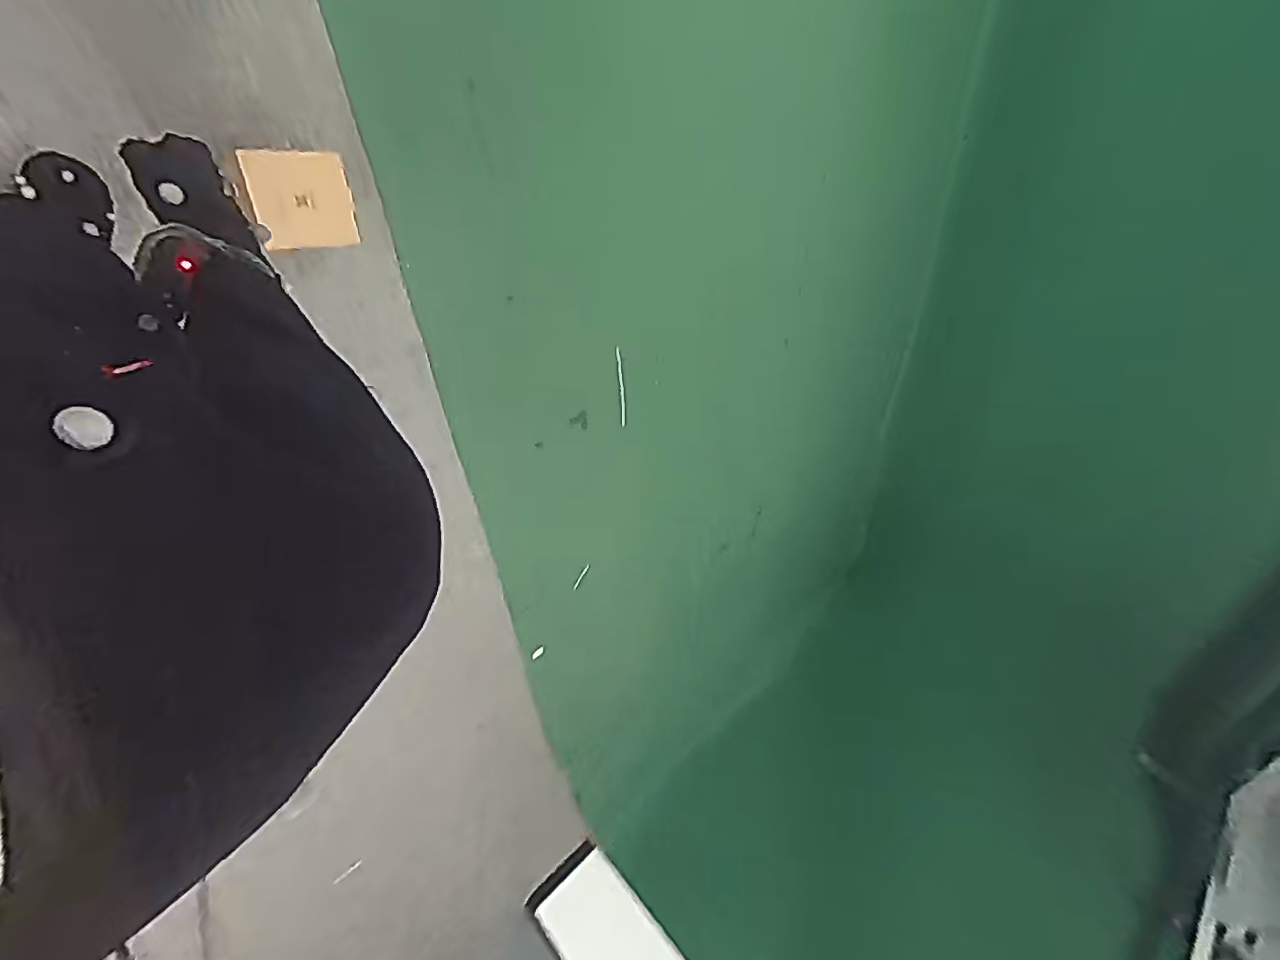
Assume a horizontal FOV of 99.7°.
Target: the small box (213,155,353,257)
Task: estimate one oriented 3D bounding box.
[{"bbox_3d":[-0.706,-0.546,1.073,0.179,0.176,0.168,-23,128,-36],"label":"small box"}]
